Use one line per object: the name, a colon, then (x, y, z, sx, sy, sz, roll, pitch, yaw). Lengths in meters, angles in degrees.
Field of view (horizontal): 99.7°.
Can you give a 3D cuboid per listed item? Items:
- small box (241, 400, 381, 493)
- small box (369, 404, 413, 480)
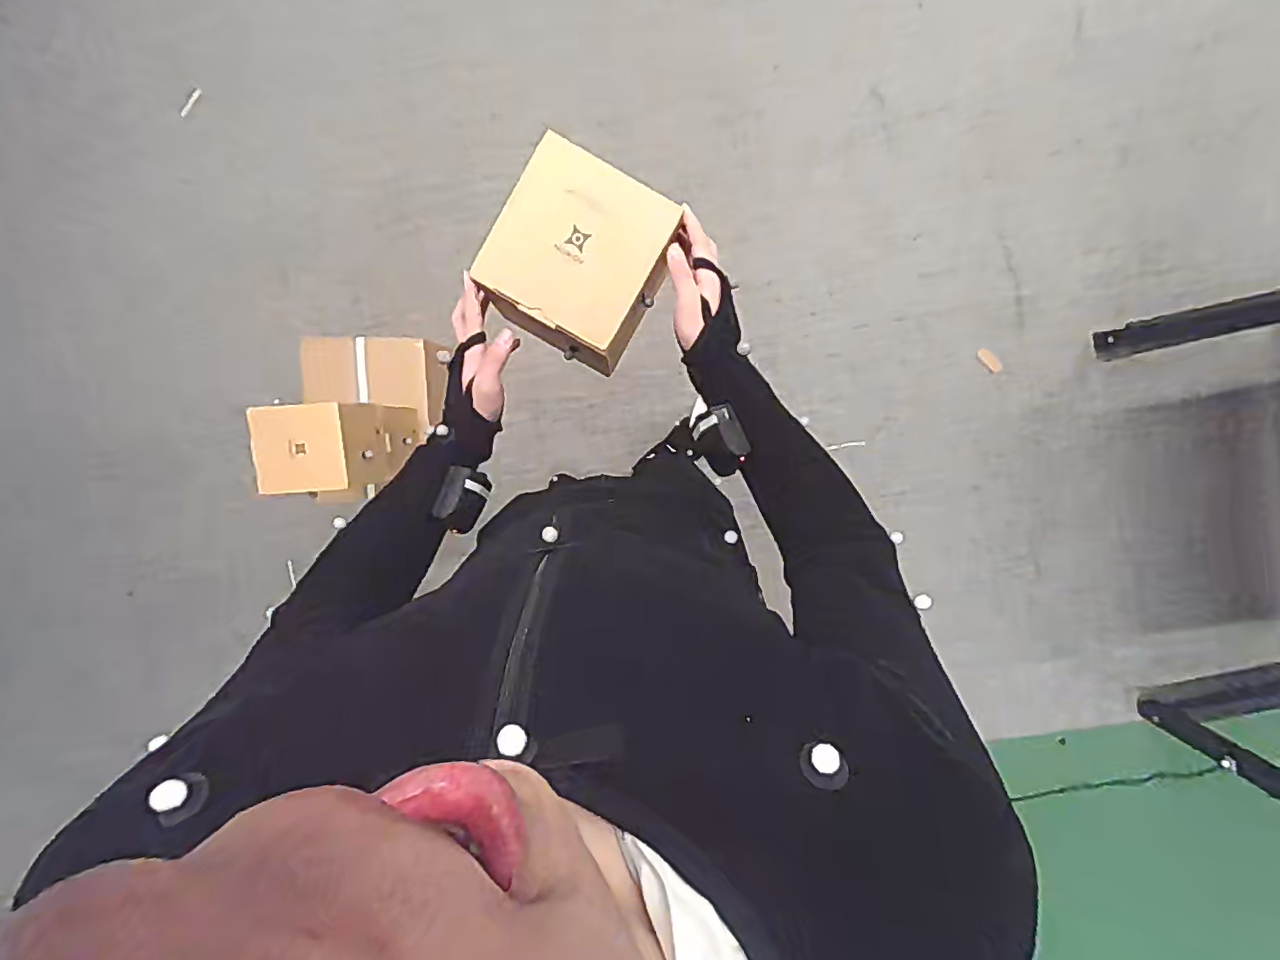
small box: (-0.639, -0.072, 1.077, 0.179, 0.176, 0.168, -4, 97, 2)
small box: (-0.638, -0.088, 1.240, 0.179, 0.176, 0.168, -4, 96, 0)
